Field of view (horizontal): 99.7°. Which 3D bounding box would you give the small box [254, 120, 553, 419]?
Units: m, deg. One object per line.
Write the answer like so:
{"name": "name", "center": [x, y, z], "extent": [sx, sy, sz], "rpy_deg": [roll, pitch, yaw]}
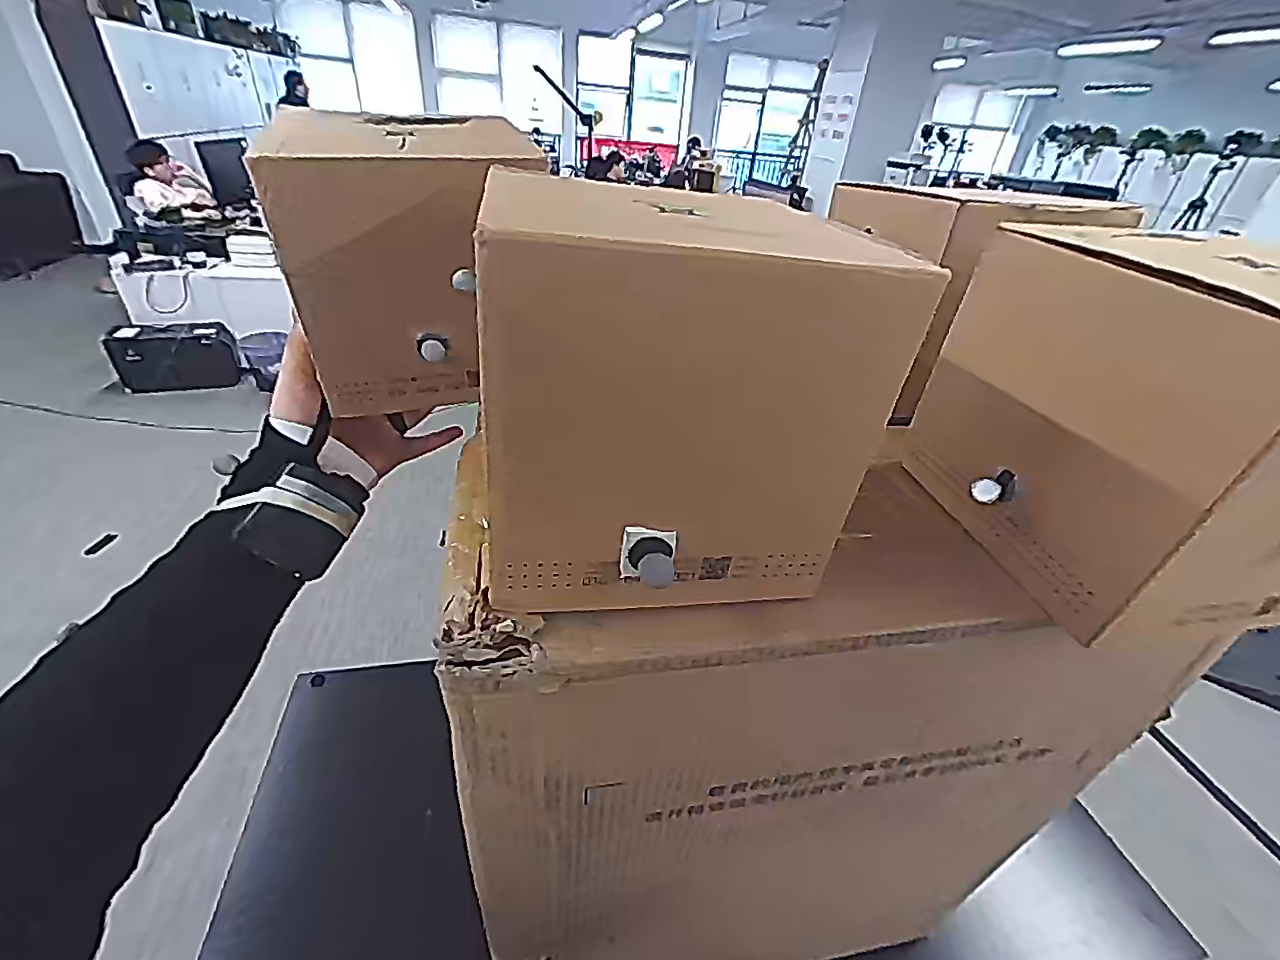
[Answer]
{"name": "small box", "center": [-0.163, -0.168, 0.422], "extent": [0.168, 0.176, 0.179], "rpy_deg": [-10, 41, -17]}

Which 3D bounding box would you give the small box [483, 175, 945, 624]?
{"name": "small box", "center": [0.006, -0.049, 0.289], "extent": [0.168, 0.176, 0.179], "rpy_deg": [-2, 35, -13]}

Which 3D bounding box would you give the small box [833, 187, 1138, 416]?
{"name": "small box", "center": [0.277, -0.169, 0.504], "extent": [0.168, 0.176, 0.179], "rpy_deg": [-4, 32, -12]}

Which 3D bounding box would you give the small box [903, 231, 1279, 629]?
{"name": "small box", "center": [0.293, -0.032, 0.309], "extent": [0.168, 0.176, 0.179], "rpy_deg": [-3, 37, -11]}
